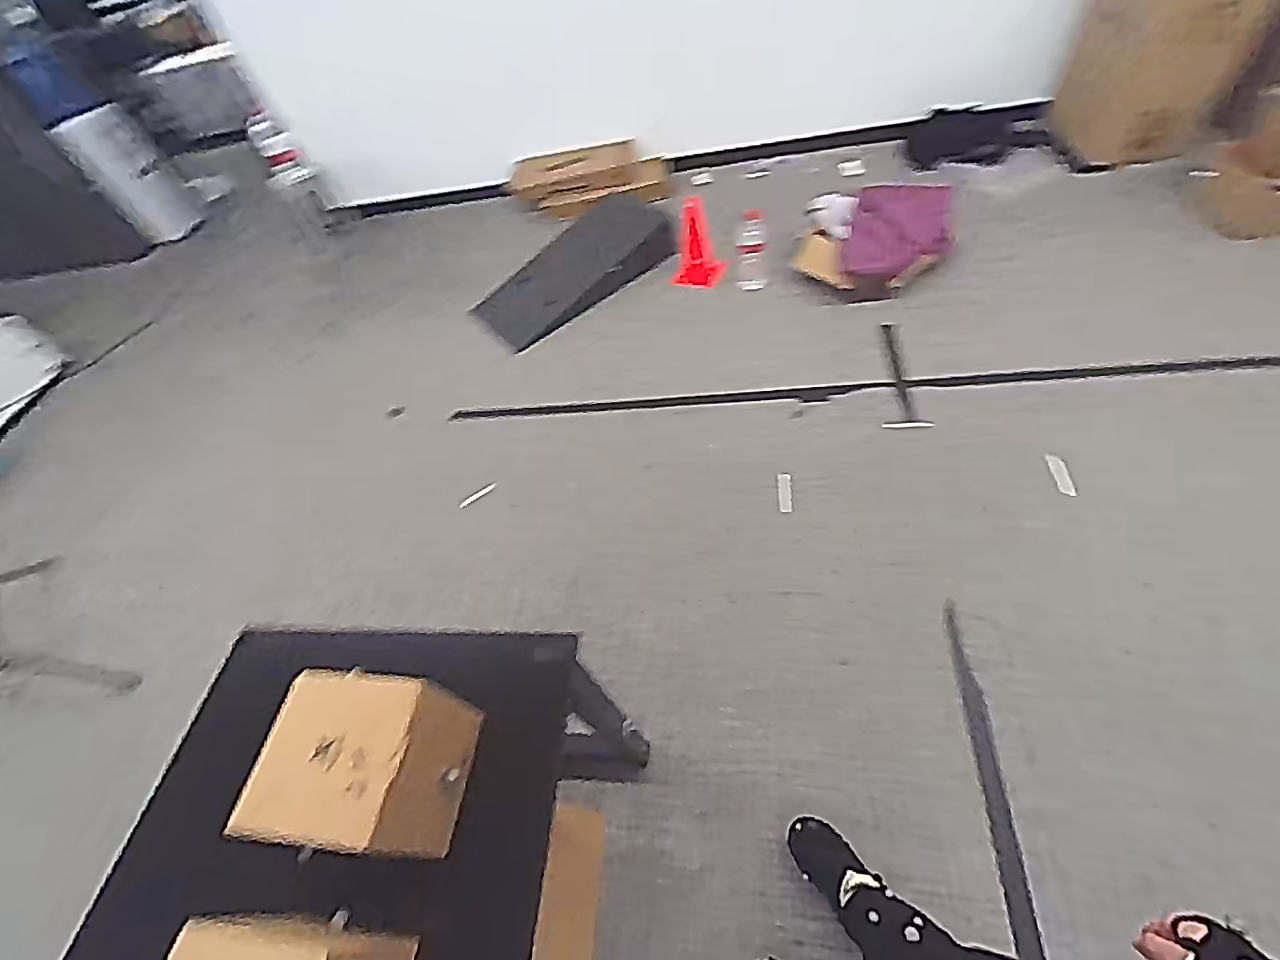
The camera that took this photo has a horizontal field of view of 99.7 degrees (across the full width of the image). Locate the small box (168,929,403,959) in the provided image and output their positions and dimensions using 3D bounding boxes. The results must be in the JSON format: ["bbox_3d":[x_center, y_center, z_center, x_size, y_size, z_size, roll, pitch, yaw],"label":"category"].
[{"bbox_3d":[-0.359,0.555,0.515,0.168,0.176,0.179,-1,52,13],"label":"small box"}]

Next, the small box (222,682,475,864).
[{"bbox_3d":[-0.333,0.357,0.658,0.179,0.176,0.168,-1,54,13],"label":"small box"}]
